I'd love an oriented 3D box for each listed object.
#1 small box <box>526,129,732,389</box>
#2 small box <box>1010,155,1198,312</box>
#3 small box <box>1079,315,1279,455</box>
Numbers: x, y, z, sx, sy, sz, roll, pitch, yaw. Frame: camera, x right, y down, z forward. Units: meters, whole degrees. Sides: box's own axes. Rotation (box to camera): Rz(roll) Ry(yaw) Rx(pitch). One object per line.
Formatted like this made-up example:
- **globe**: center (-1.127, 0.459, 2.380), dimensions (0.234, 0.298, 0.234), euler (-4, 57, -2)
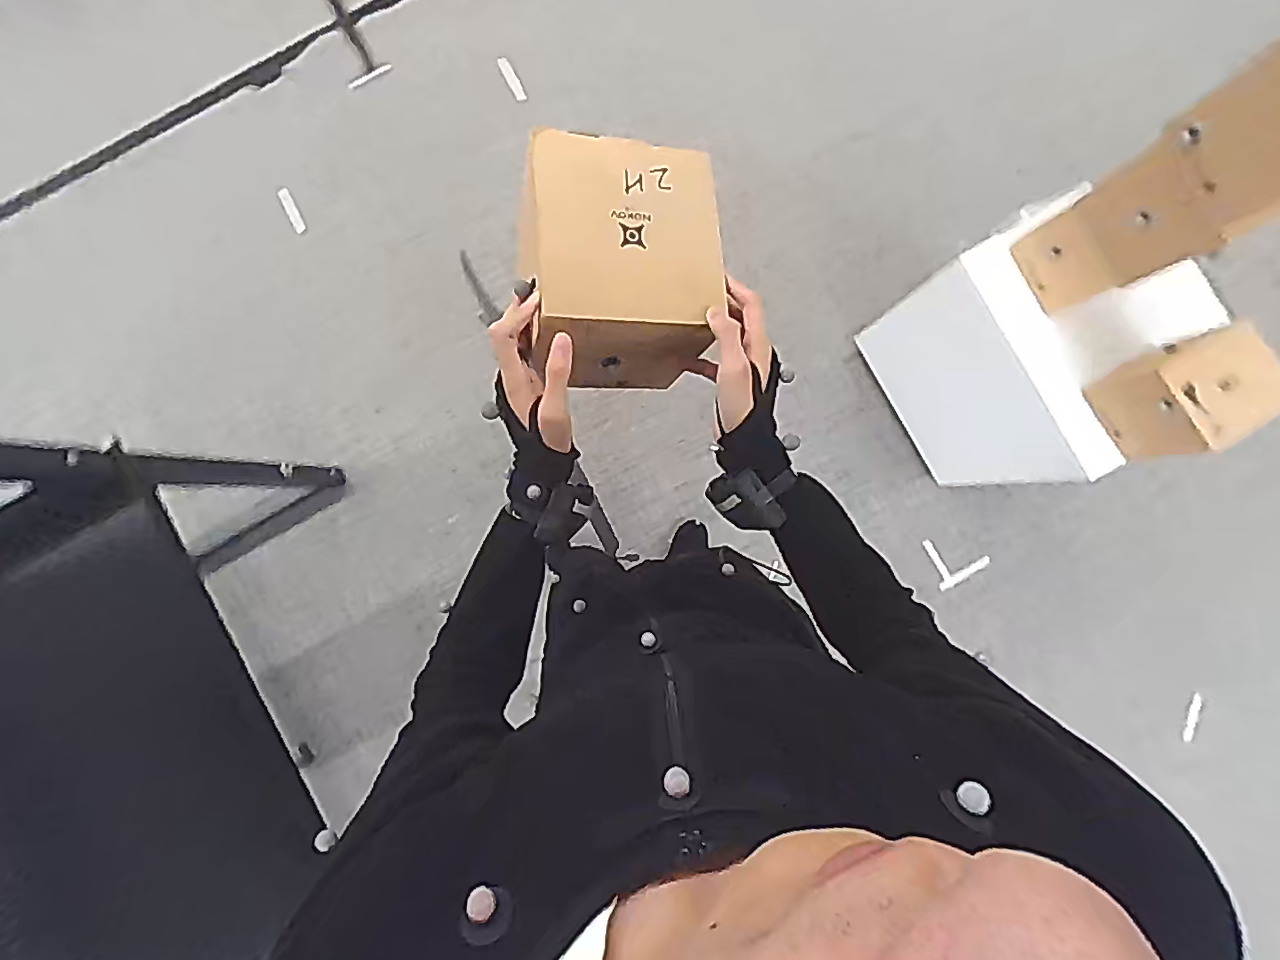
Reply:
- **small box**: center (-0.023, -0.200, 0.542), dimensions (0.168, 0.176, 0.179), euler (-1, 80, -17)
- **small box**: center (0.825, -0.436, 0.988), dimensions (0.179, 0.176, 0.168), euler (-29, 89, -1)
- **small box**: center (0.965, -0.161, 0.976), dimensions (0.179, 0.176, 0.168), euler (-31, 87, -1)
